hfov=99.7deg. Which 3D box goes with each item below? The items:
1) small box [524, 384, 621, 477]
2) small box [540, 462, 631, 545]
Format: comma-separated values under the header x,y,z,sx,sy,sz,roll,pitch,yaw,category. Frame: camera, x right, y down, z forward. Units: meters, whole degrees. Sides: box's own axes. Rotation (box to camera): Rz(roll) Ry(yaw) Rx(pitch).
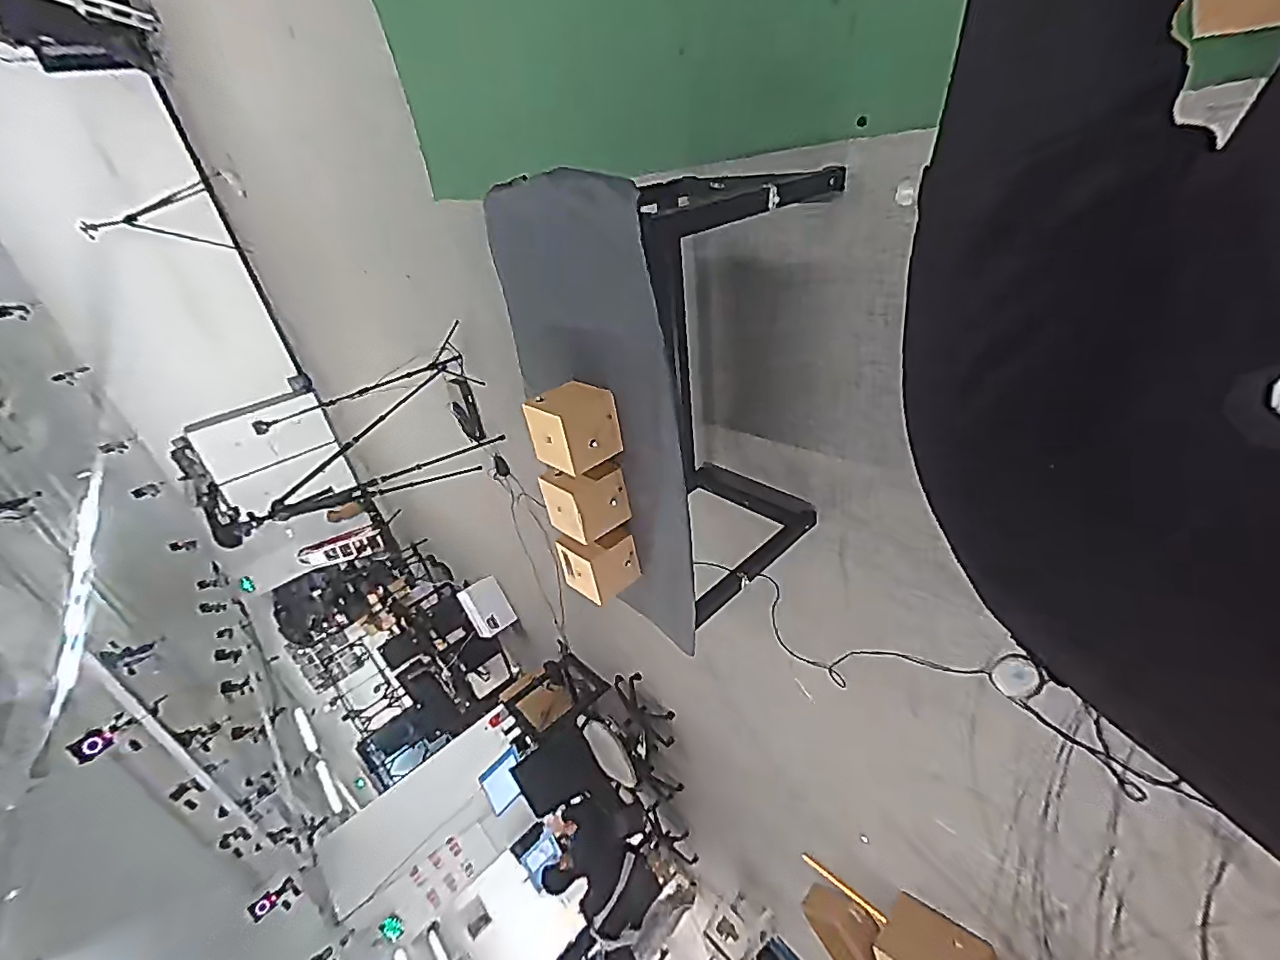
x,y,z,sx,sy,sz,roll,pitch,yaw,category
-0.165,-0.135,1.387,0.179,0.176,0.168,23,133,44,small box
-0.150,0.049,1.514,0.179,0.176,0.168,21,133,44,small box
